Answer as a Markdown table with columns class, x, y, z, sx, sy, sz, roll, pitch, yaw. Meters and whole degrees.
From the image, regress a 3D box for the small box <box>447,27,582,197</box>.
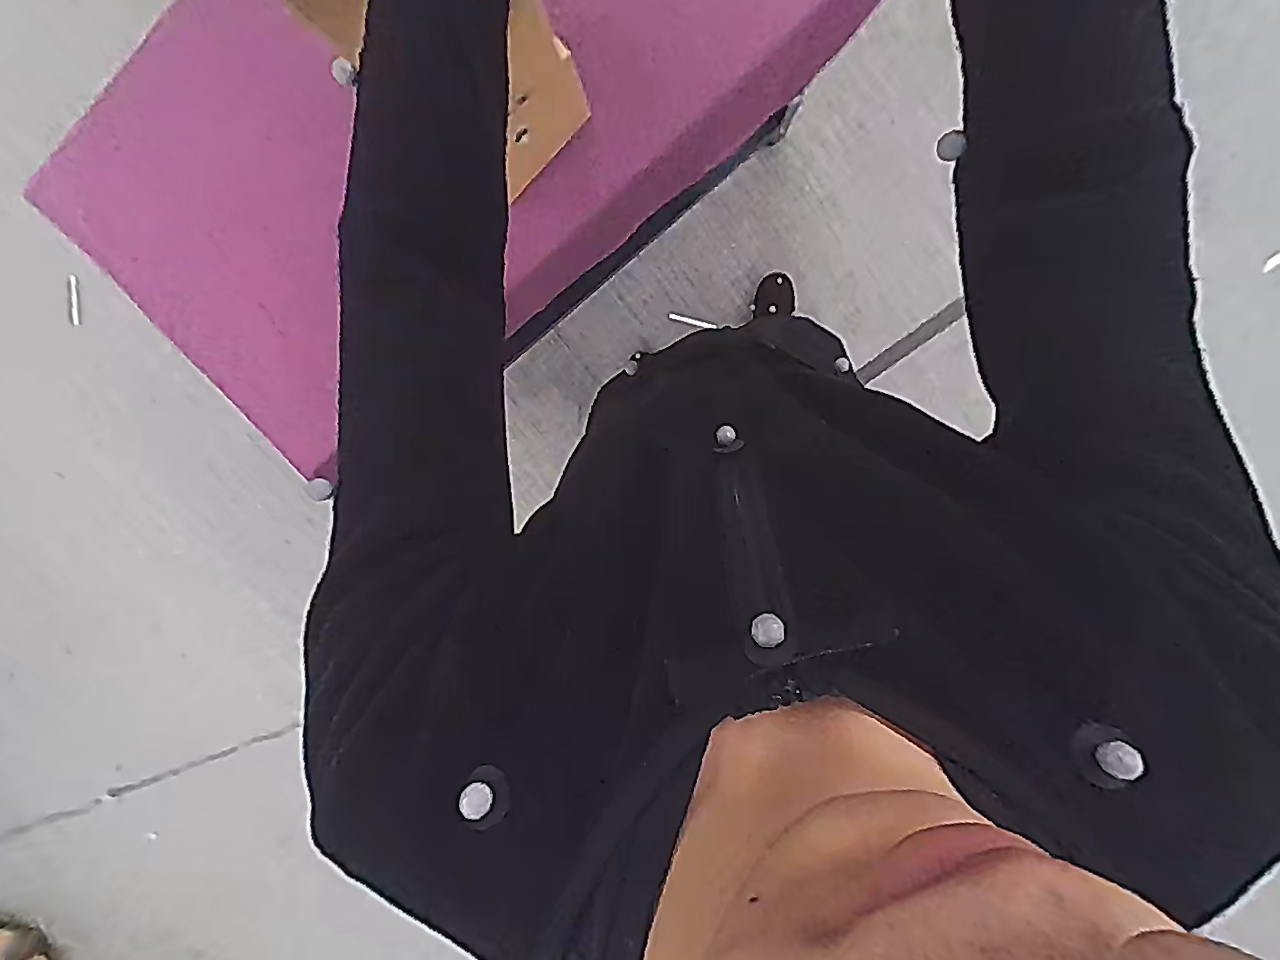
| class | x | y | z | sx | sy | sz | roll | pitch | yaw |
| --- | --- | --- | --- | --- | --- | --- | --- | --- | --- |
| small box | -0.195 | -0.507 | 0.698 | 0.179 | 0.176 | 0.168 | -42 | 98 | 12 |

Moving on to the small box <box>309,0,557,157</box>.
| class | x | y | z | sx | sy | sz | roll | pitch | yaw |
| --- | --- | --- | --- | --- | --- | --- | --- | --- | --- |
| small box | -0.210 | -0.470 | 0.538 | 0.168 | 0.176 | 0.179 | -36 | 99 | 12 |
